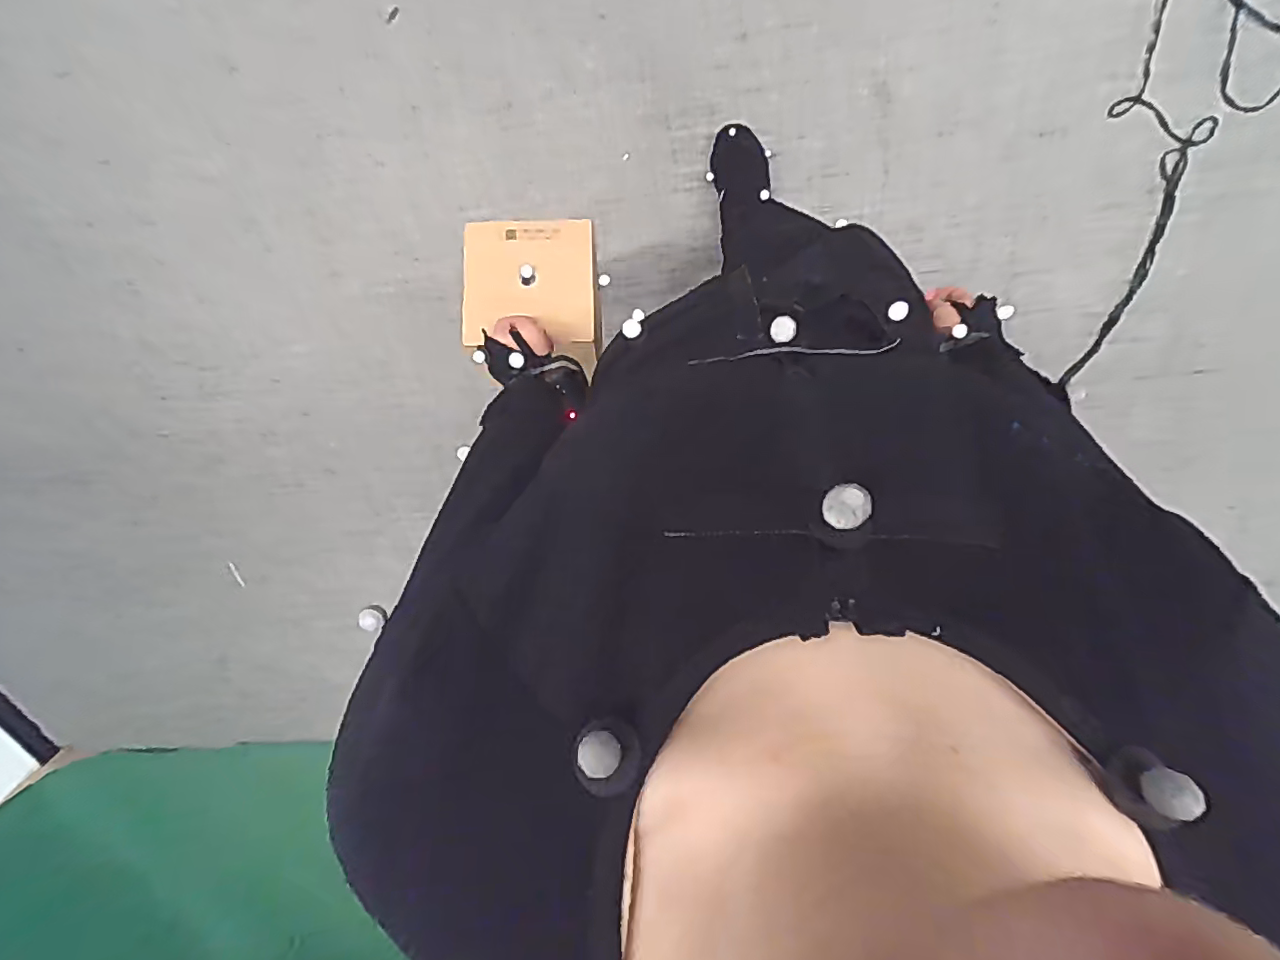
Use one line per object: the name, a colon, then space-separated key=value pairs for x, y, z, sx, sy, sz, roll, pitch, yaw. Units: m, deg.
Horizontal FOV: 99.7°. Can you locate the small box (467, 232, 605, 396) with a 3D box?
small box: x=-0.140 y=-0.230 z=0.764 sx=0.168 sy=0.179 sz=0.176 roll=-3 pitch=81 yaw=0
